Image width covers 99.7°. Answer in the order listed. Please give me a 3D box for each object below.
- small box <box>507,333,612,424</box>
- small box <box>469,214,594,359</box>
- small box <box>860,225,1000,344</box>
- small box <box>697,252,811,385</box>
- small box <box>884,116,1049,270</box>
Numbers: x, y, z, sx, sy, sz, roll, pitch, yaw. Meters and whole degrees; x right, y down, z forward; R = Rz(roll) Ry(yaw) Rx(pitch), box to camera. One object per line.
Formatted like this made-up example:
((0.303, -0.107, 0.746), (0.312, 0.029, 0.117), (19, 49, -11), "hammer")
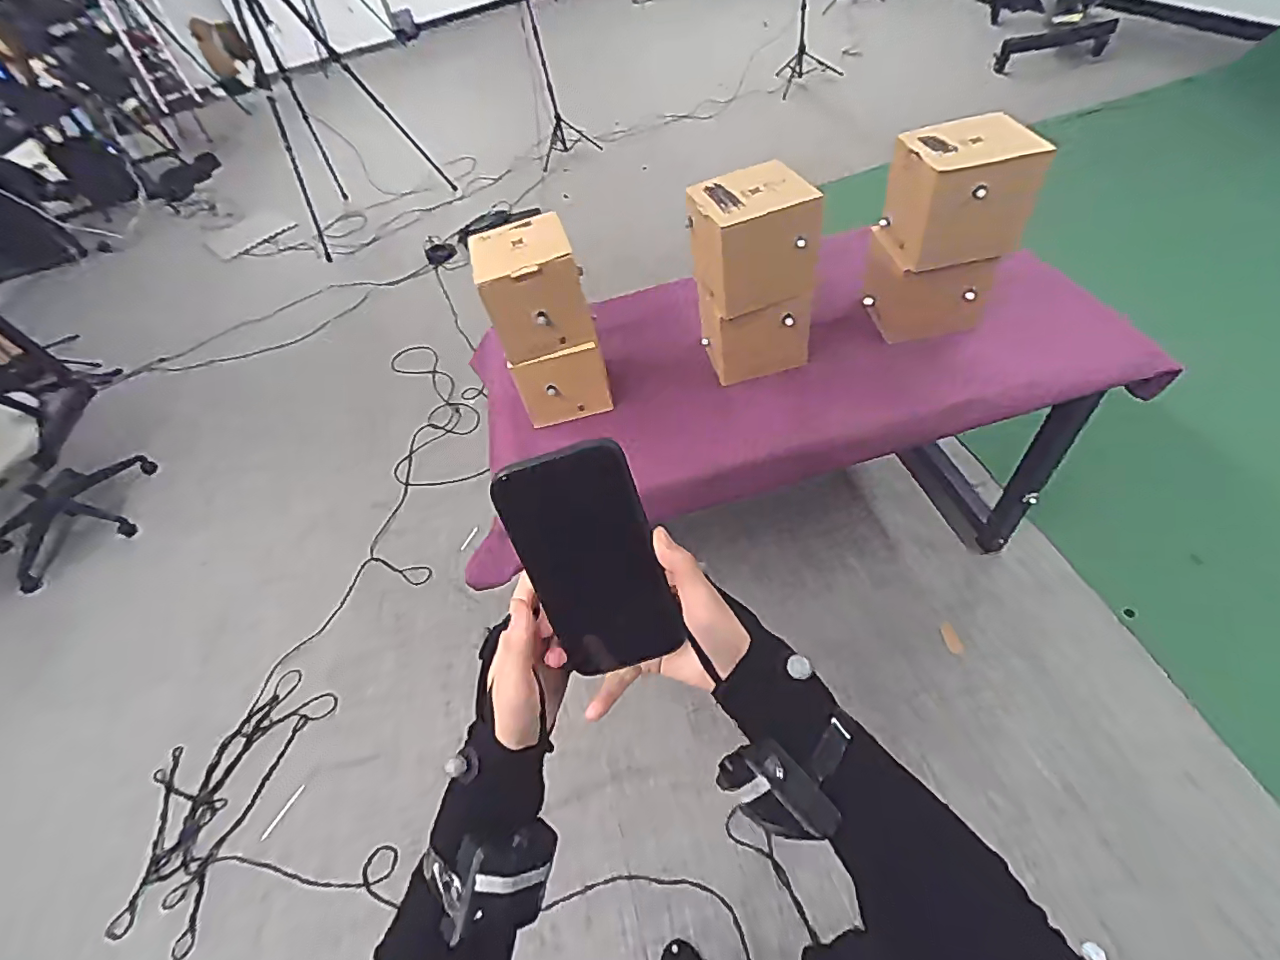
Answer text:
((-0.161, -0.231, 1.094), (0.168, 0.176, 0.179), (-14, 50, 2), "small box")
((-0.192, -0.339, 0.973), (0.168, 0.176, 0.179), (-18, 51, -2), "small box")
((0.552, -0.391, 1.057), (0.179, 0.176, 0.168), (-10, 50, 5), "small box")
((0.220, -0.316, 1.072), (0.179, 0.176, 0.168), (-15, 50, 1), "small box")
((0.534, -0.482, 0.922), (0.179, 0.176, 0.168), (-10, 50, 4), "small box")
